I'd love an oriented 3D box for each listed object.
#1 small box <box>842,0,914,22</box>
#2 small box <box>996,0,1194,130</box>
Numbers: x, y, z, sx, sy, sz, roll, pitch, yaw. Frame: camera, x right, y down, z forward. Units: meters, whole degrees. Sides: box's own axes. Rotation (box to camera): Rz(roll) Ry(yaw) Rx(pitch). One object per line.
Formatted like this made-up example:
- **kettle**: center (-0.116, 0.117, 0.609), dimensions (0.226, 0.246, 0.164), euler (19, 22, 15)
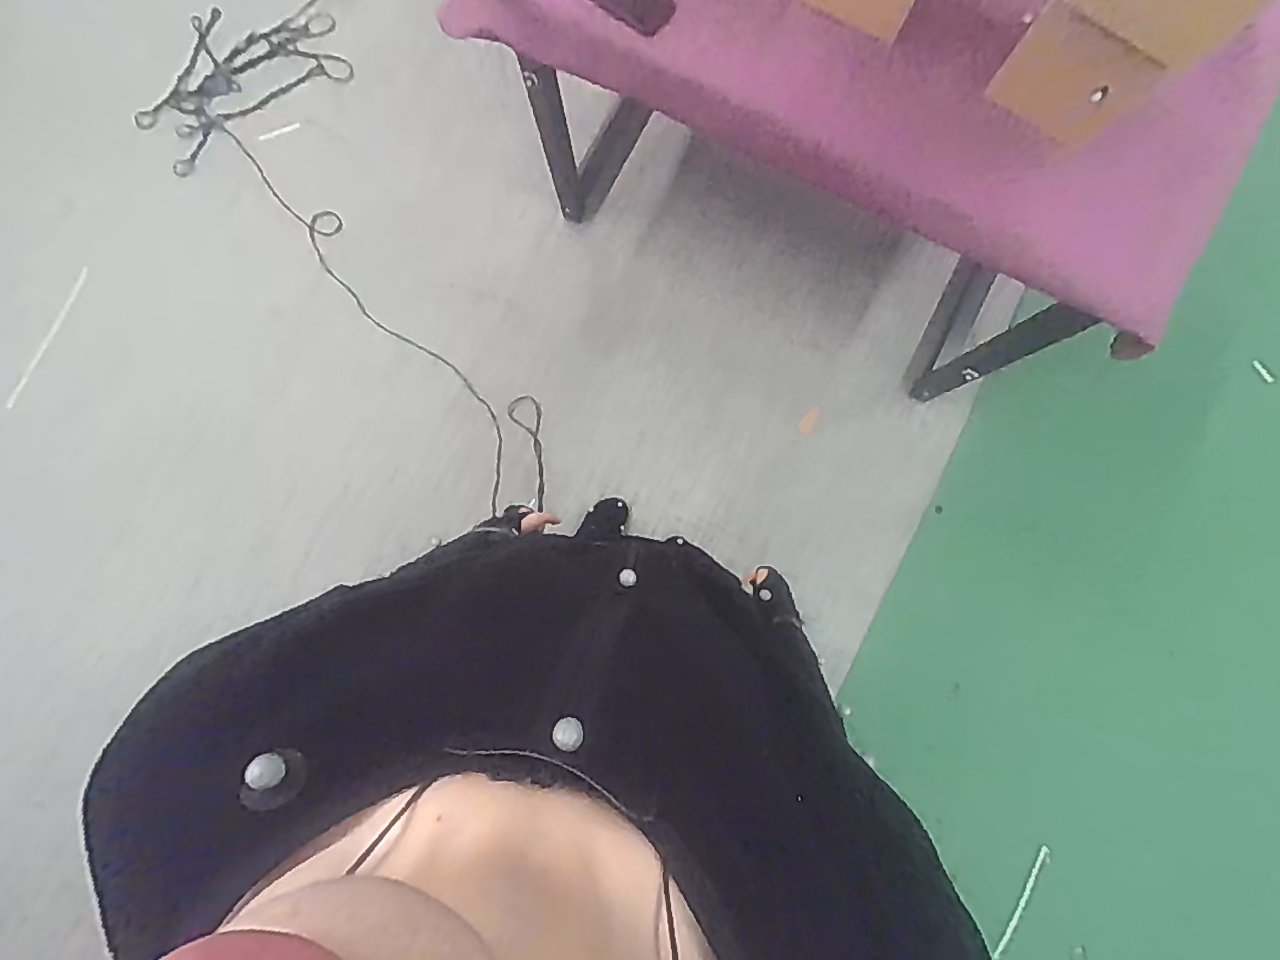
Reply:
- **small box**: center (0.363, -0.812, 0.765), dimensions (0.179, 0.176, 0.168), euler (29, 87, 3)
- **small box**: center (0.653, -0.632, 0.745), dimensions (0.179, 0.176, 0.168), euler (36, 87, 5)
